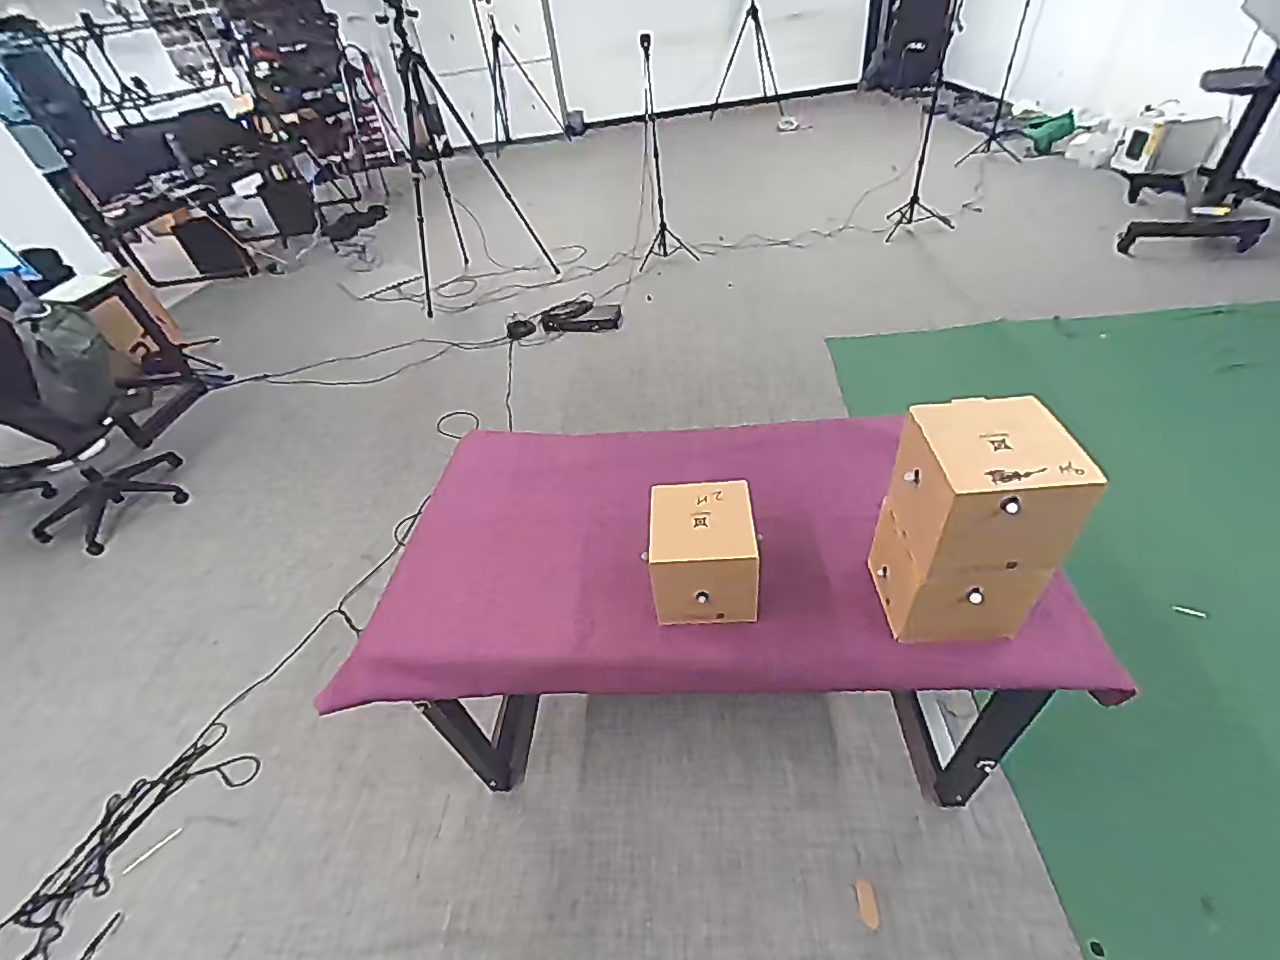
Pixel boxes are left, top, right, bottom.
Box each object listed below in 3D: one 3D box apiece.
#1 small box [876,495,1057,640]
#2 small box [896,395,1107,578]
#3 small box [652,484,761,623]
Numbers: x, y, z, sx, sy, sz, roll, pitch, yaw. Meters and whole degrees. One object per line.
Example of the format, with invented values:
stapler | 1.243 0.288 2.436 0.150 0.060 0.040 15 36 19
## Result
small box | 0.486 0.131 0.839 0.179 0.176 0.168 -7 43 8
small box | 0.463 0.010 0.731 0.168 0.176 0.179 -7 42 9
small box | 0.115 0.130 0.924 0.168 0.176 0.179 -4 41 8
